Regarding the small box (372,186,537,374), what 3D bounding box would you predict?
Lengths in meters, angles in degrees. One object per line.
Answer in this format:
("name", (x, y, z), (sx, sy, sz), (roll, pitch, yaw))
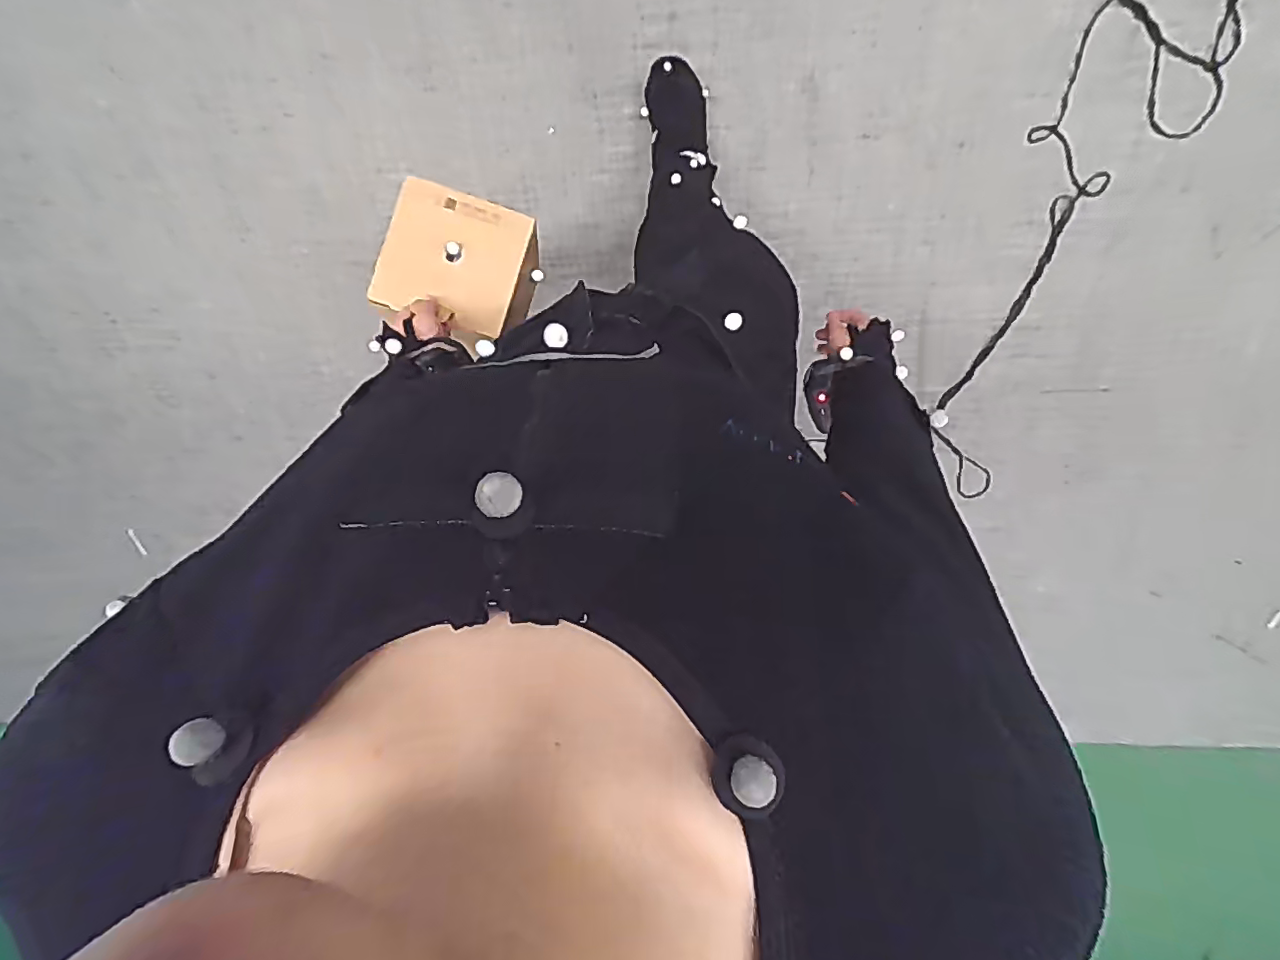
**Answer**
("small box", (-0.246, -0.270, 0.756), (0.168, 0.179, 0.176), (15, 84, -9))
